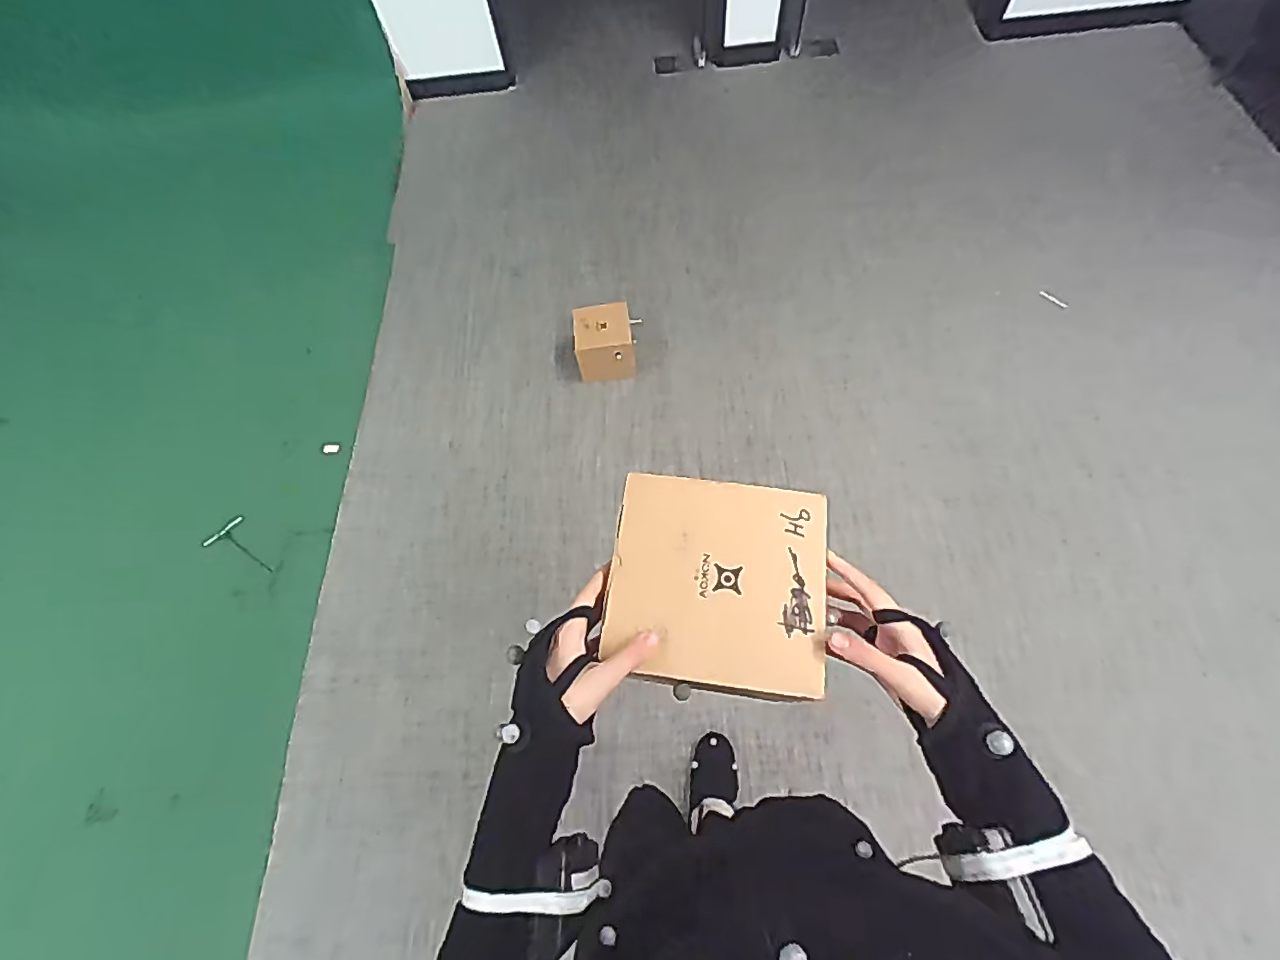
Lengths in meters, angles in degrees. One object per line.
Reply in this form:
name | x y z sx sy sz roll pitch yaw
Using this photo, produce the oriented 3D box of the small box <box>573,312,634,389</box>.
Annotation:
small box | -0.112 -0.412 1.737 0.179 0.176 0.168 -7 64 1
